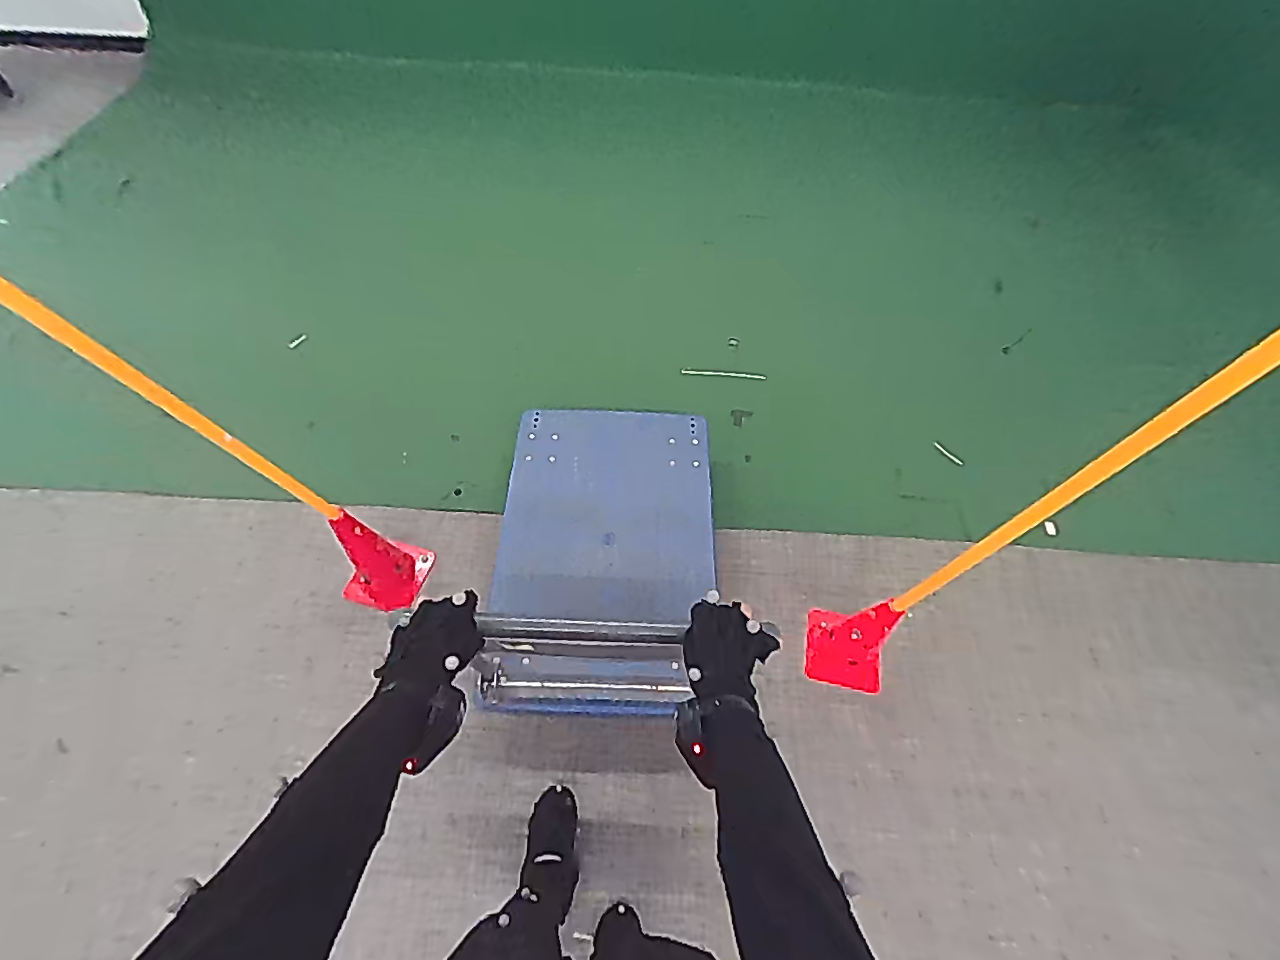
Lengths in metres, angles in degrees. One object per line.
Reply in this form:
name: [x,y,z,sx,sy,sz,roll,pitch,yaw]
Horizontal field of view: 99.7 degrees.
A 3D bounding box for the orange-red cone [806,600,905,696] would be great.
orange-red cone: [0.559,0.376,1.325,0.198,0.360,0.199,12,58,7]
